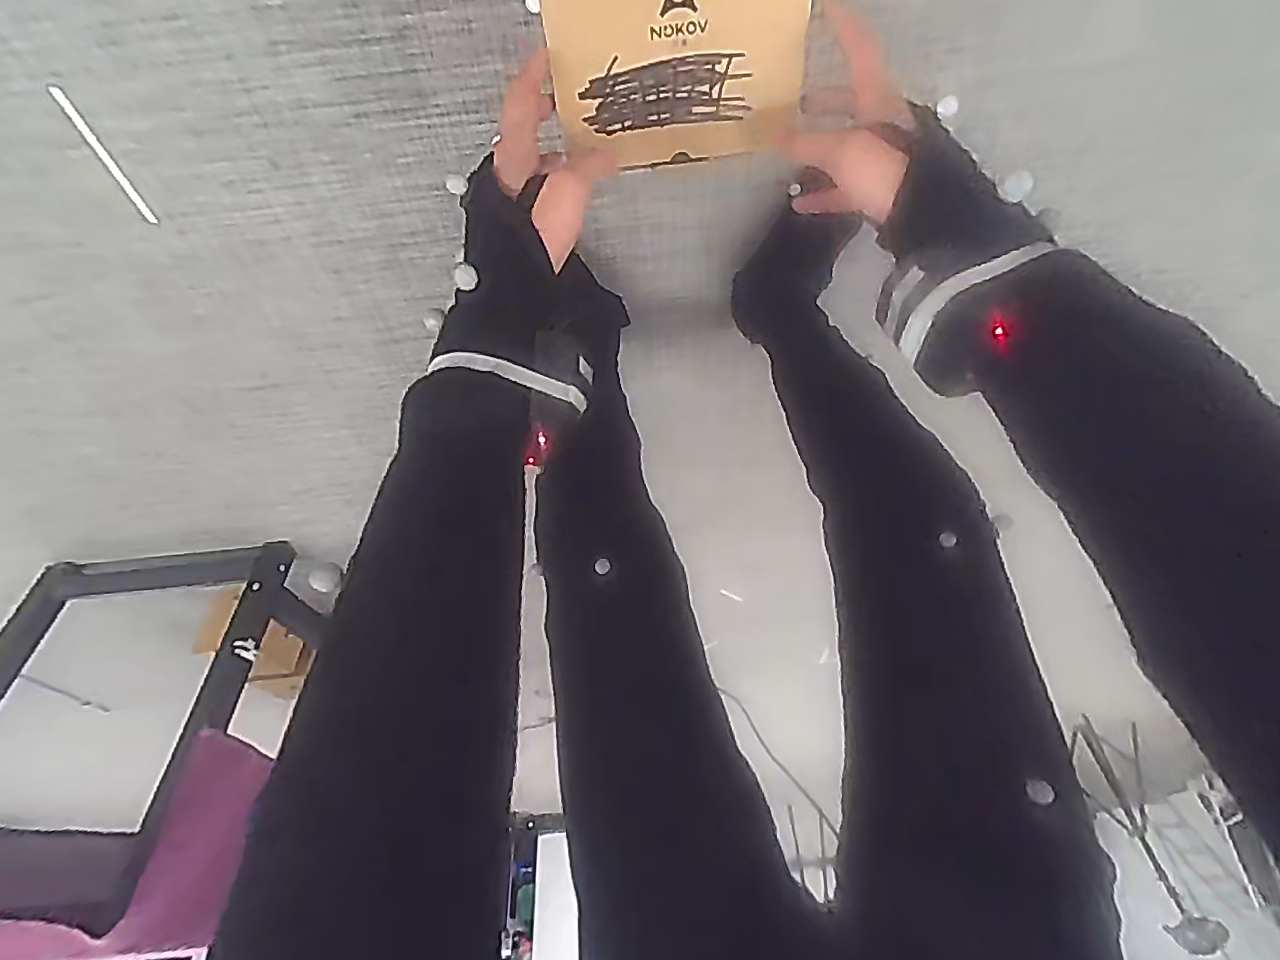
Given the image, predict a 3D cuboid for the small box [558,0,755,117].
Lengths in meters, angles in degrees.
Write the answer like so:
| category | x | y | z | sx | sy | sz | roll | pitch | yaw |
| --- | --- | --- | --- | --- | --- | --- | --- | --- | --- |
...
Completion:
| category | x | y | z | sx | sy | sz | roll | pitch | yaw |
| --- | --- | --- | --- | --- | --- | --- | --- | --- | --- |
| small box | 0.005 | -0.464 | 0.484 | 0.168 | 0.176 | 0.179 | -8 | 141 | 3 |
